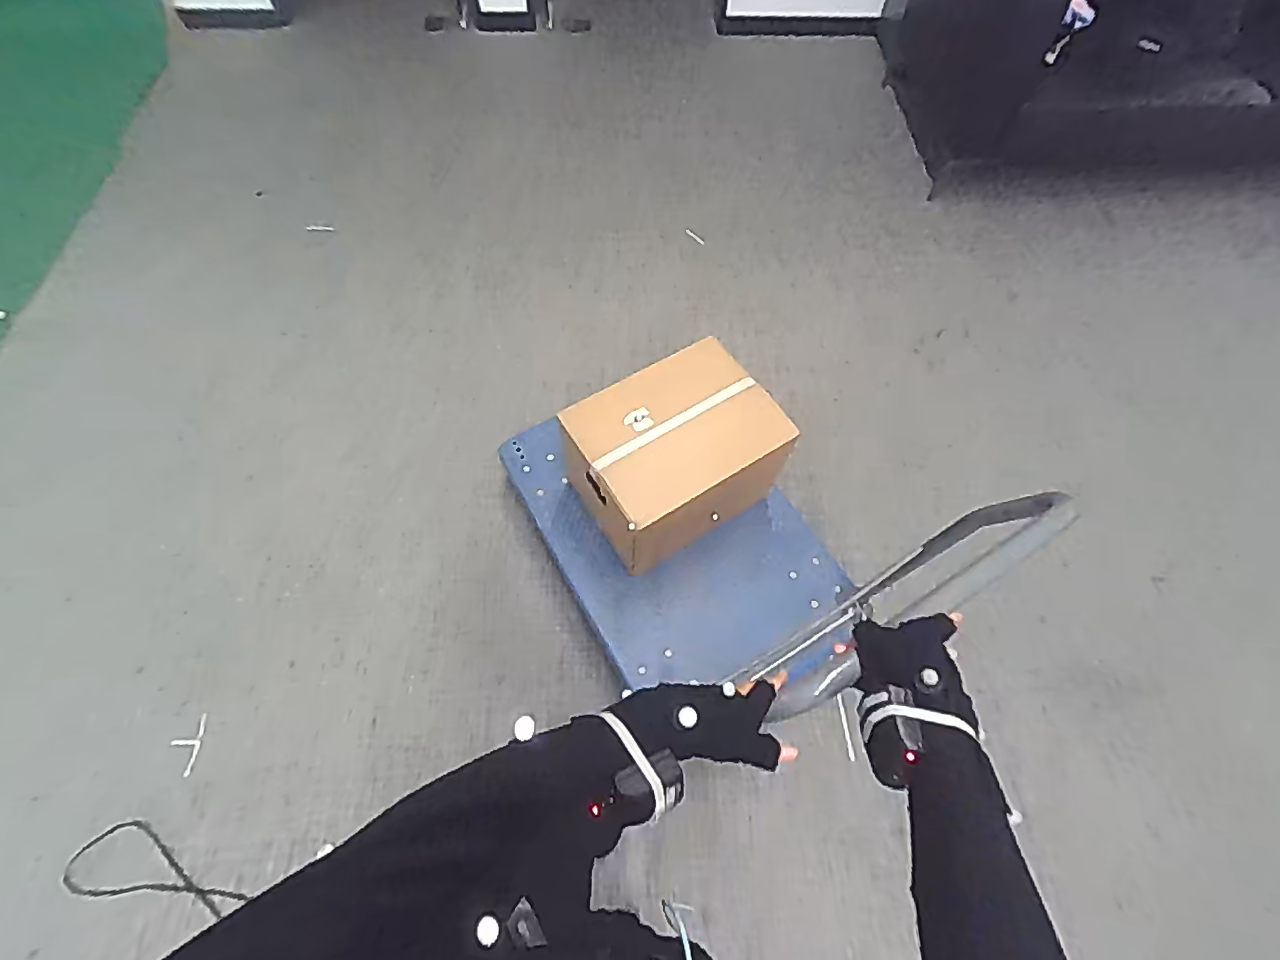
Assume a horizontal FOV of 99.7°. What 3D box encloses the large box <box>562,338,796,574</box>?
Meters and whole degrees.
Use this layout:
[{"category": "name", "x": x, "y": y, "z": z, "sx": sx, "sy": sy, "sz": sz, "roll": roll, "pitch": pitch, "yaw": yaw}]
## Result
[{"category": "large box", "x": 0.081, "y": -0.047, "z": 1.256, "sx": 0.408, "sy": 0.320, "sz": 0.320, "roll": -31, "pitch": 67, "yaw": -15}]
